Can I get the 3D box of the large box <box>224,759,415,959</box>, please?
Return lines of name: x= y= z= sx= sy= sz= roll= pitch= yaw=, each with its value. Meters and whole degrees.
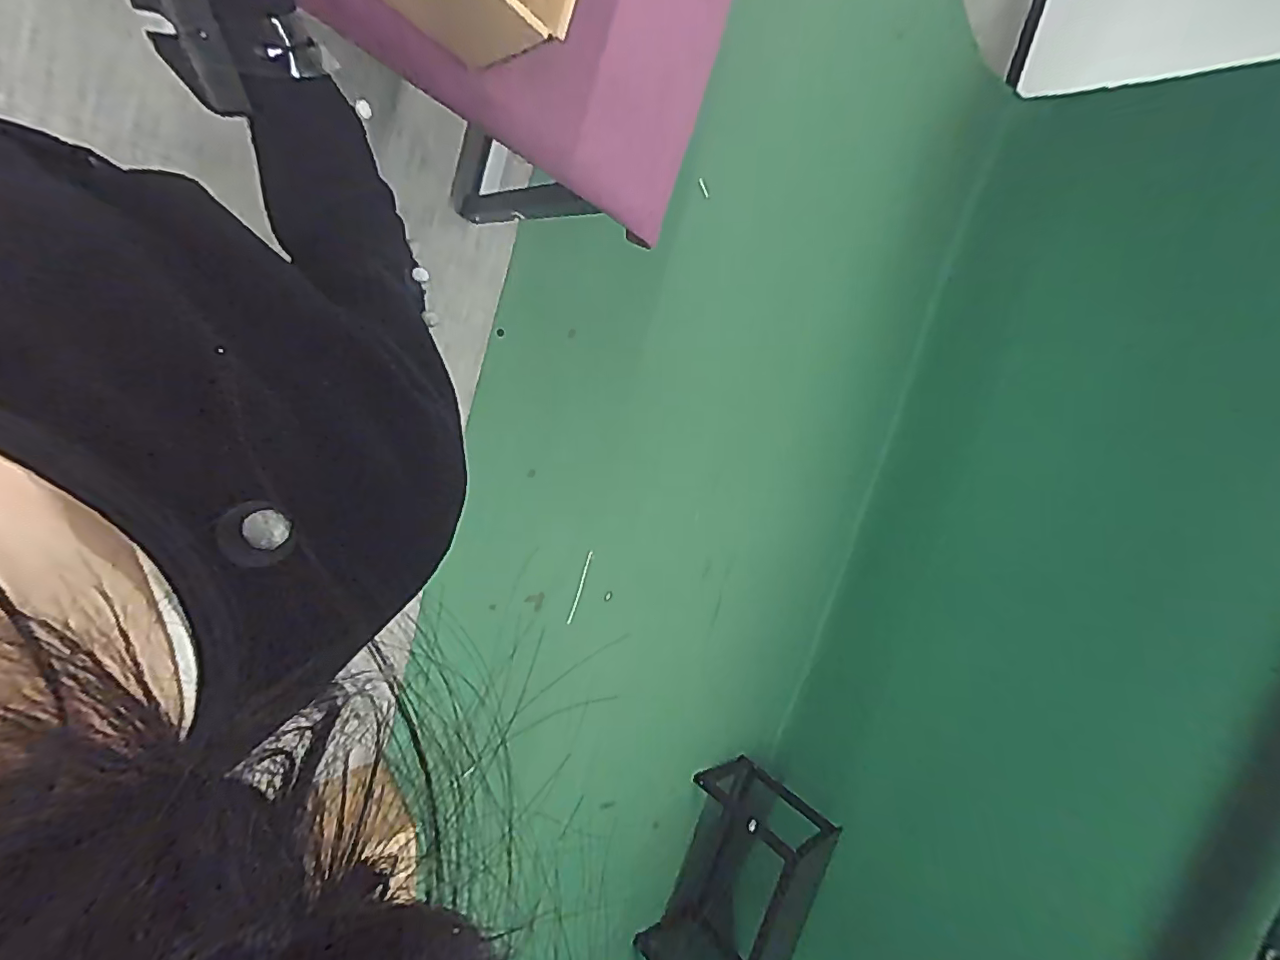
large box: x=-0.920 y=1.115 z=1.573 sx=0.408 sy=0.320 sz=0.320 roll=-10 pitch=114 yaw=-44
